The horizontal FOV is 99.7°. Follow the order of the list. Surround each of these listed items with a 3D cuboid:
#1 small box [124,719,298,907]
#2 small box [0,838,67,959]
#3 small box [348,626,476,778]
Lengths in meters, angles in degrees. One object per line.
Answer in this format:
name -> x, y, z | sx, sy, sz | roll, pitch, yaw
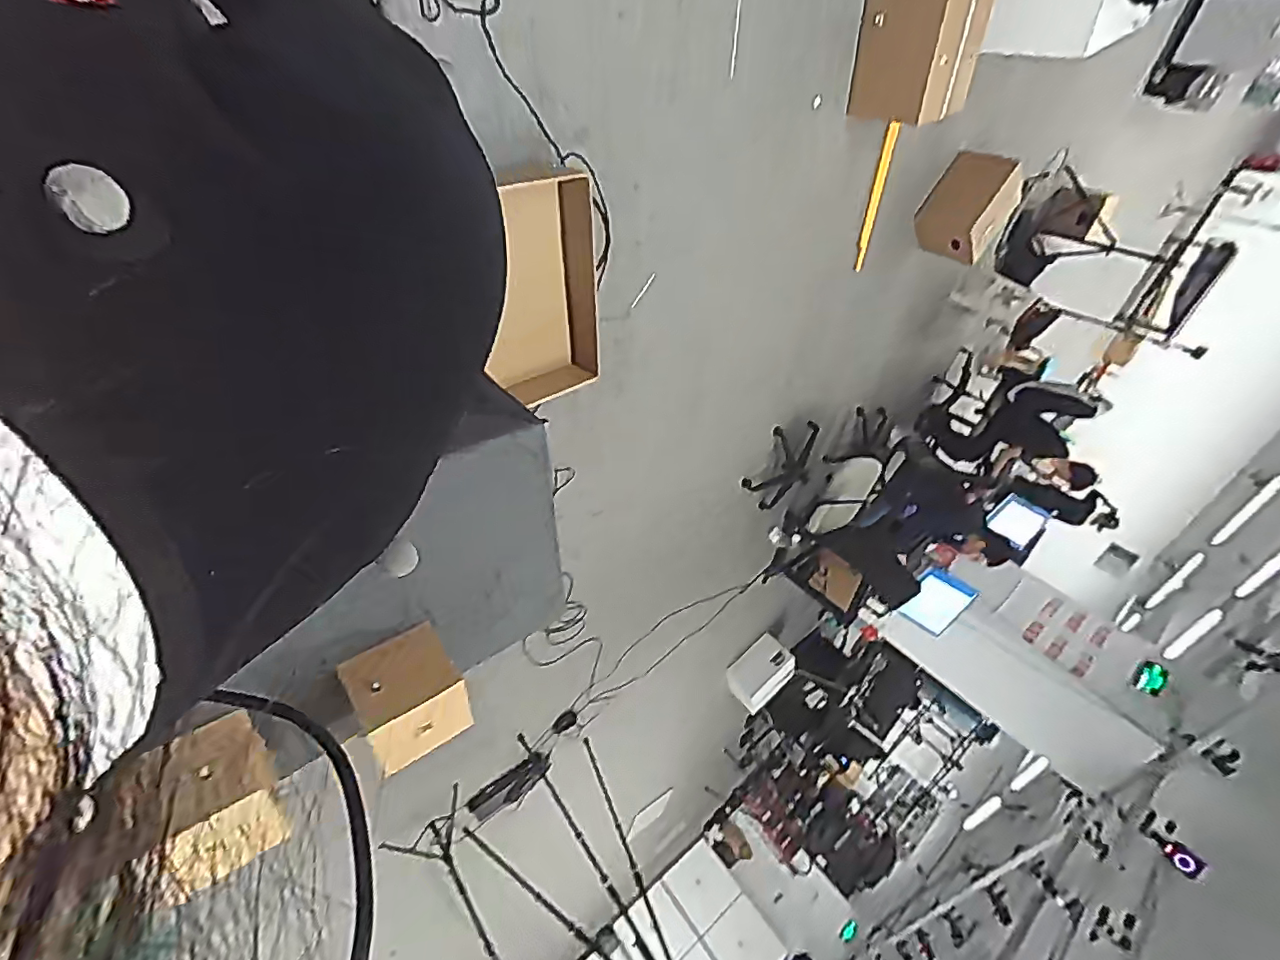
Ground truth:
small box -> -0.688, 0.523, 0.873 | 0.168, 0.176, 0.179 | -23, 136, -33
small box -> -0.909, 0.625, 0.716 | 0.168, 0.176, 0.179 | -24, 136, -34
small box -> -0.443, 0.422, 1.047 | 0.179, 0.176, 0.168 | -23, 136, -32
